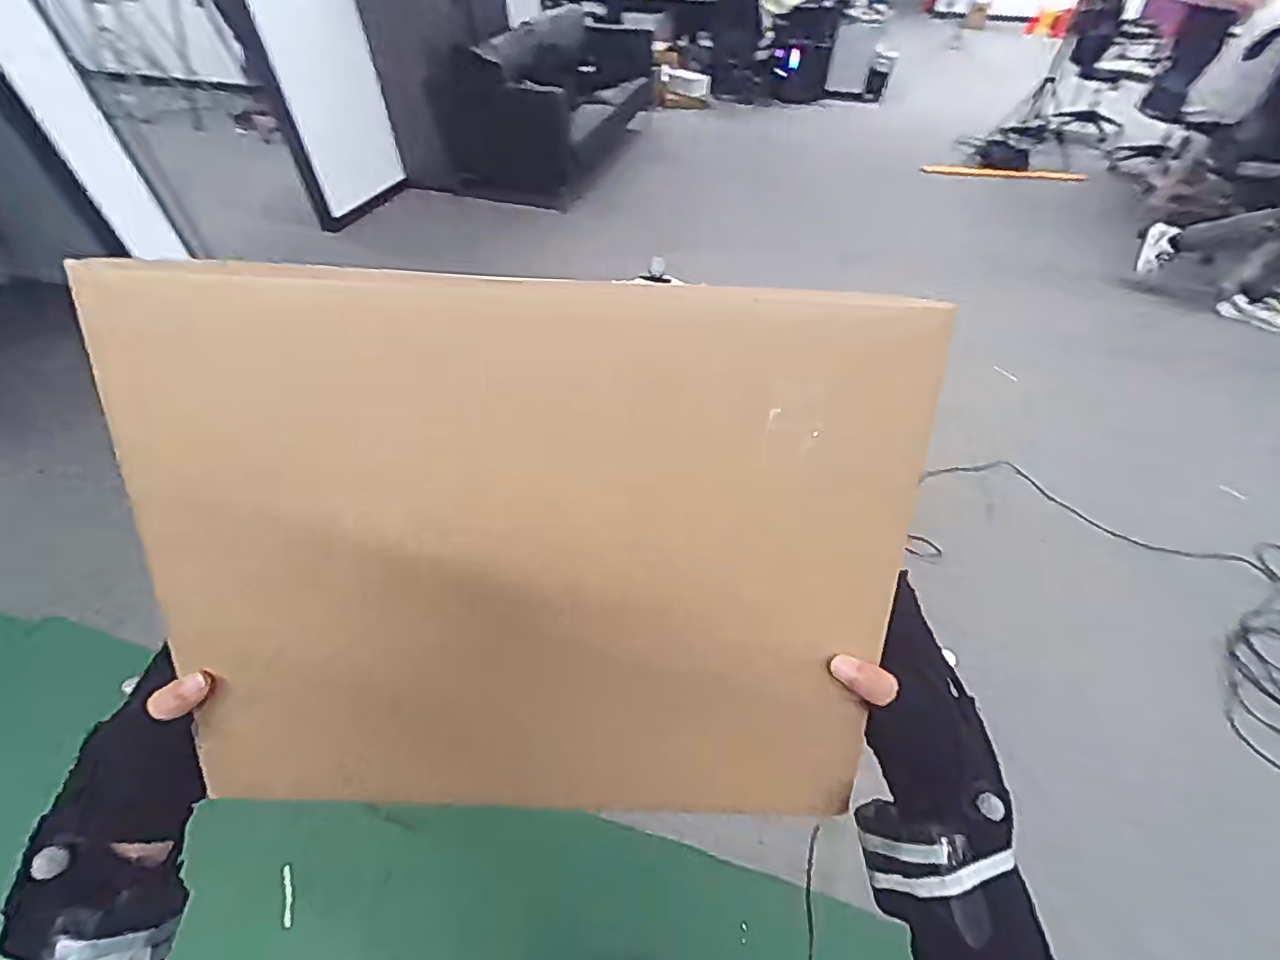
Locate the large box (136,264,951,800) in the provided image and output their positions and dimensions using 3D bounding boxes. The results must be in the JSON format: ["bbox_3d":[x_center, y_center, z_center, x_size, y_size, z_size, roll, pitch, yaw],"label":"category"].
[{"bbox_3d":[-0.055,0.014,0.444,0.408,0.320,0.320,4,19,-1],"label":"large box"}]
